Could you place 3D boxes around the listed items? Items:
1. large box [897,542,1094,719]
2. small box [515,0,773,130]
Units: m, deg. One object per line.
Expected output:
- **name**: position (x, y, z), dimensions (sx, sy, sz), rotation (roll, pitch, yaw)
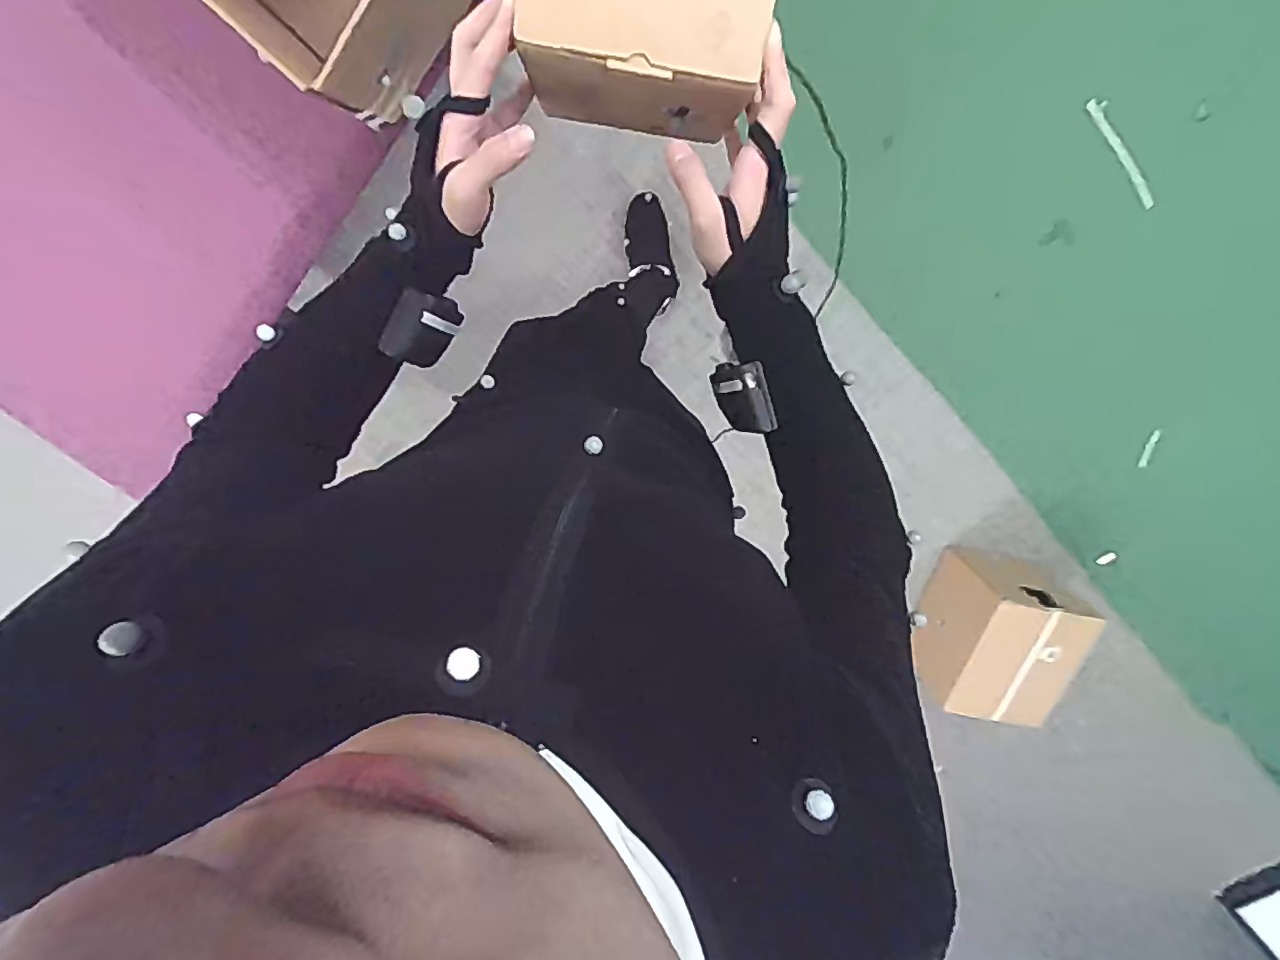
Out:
- **large box**: position (1.074, 0.462, 1.691), dimensions (0.320, 0.320, 0.408), rotation (11, 111, -4)
- **small box**: position (0.010, -0.385, 0.399), dimensions (0.168, 0.176, 0.179), rotation (7, 110, -5)
